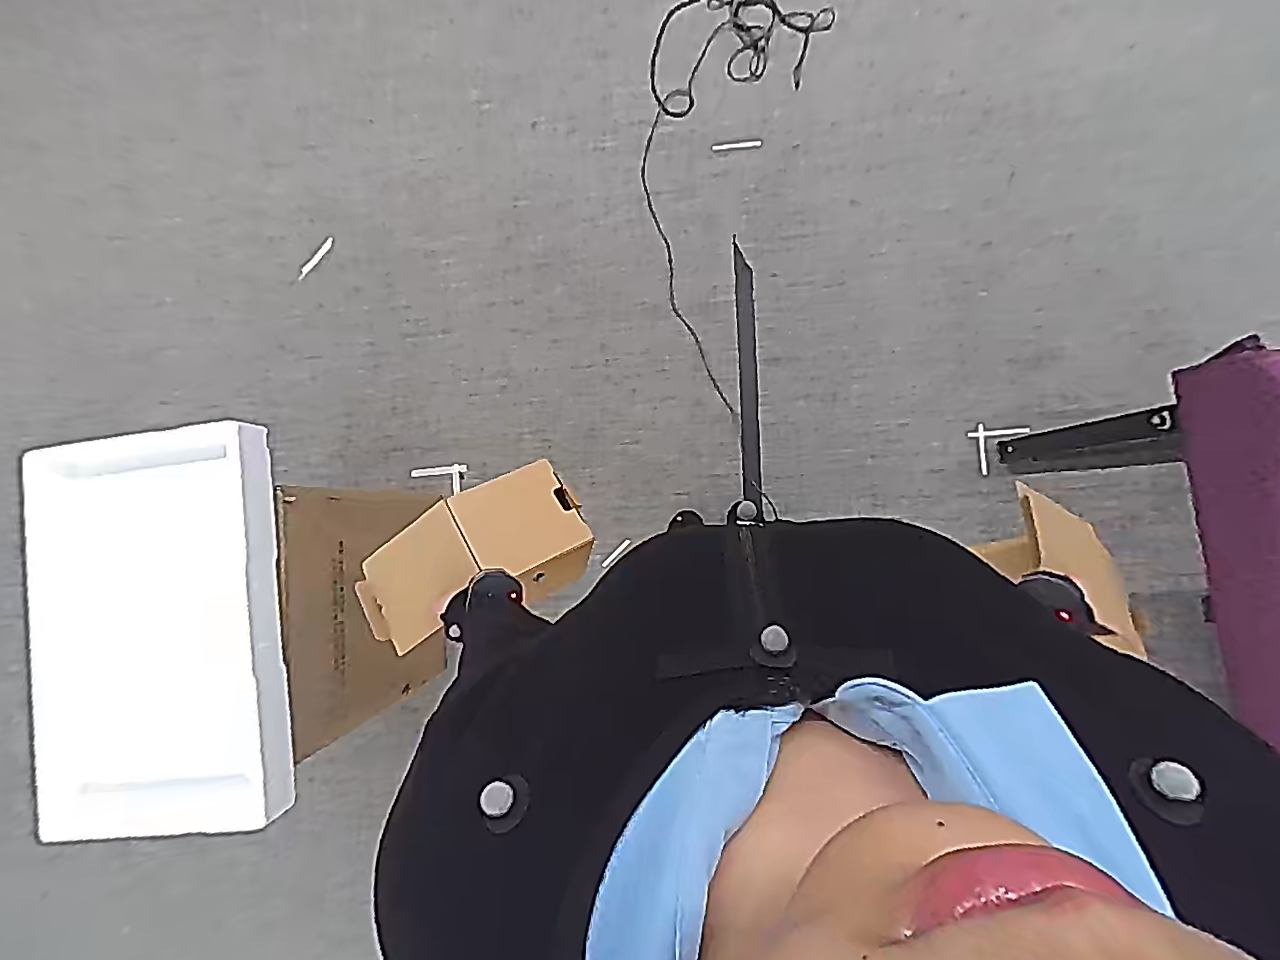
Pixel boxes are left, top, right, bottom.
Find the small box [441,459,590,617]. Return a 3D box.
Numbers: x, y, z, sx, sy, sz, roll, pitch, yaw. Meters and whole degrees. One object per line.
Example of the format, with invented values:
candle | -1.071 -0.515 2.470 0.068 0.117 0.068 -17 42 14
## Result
small box | -0.200 0.099 0.885 0.179 0.176 0.168 -25 69 -23
